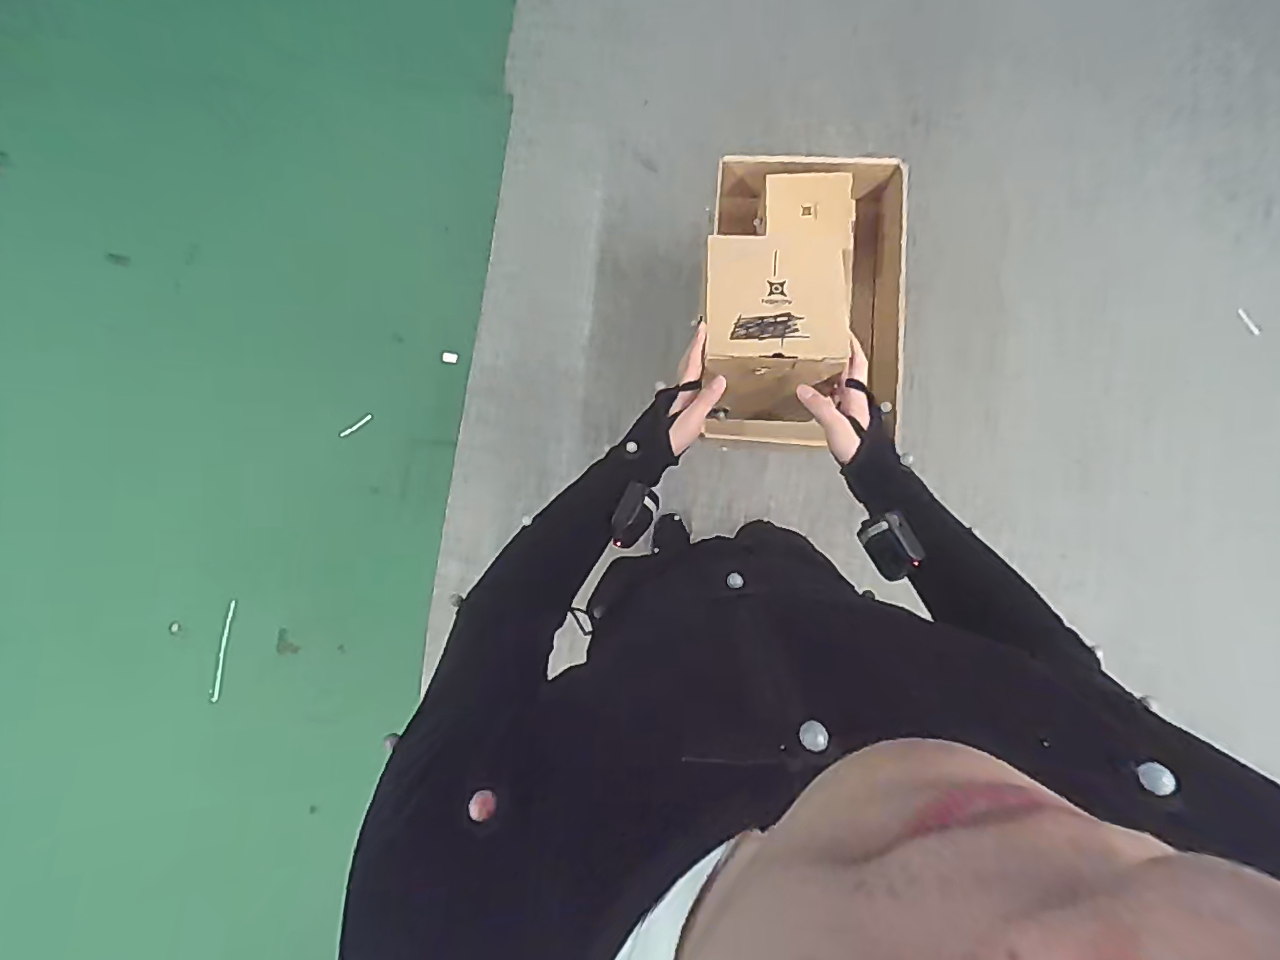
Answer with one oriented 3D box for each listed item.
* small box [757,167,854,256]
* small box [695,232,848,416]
[{"bbox_3d":[0.349,-0.545,1.171,0.179,0.176,0.168,0,84,4],"label":"small box"},{"bbox_3d":[0.161,-0.195,0.709,0.168,0.176,0.179,2,71,3],"label":"small box"}]
